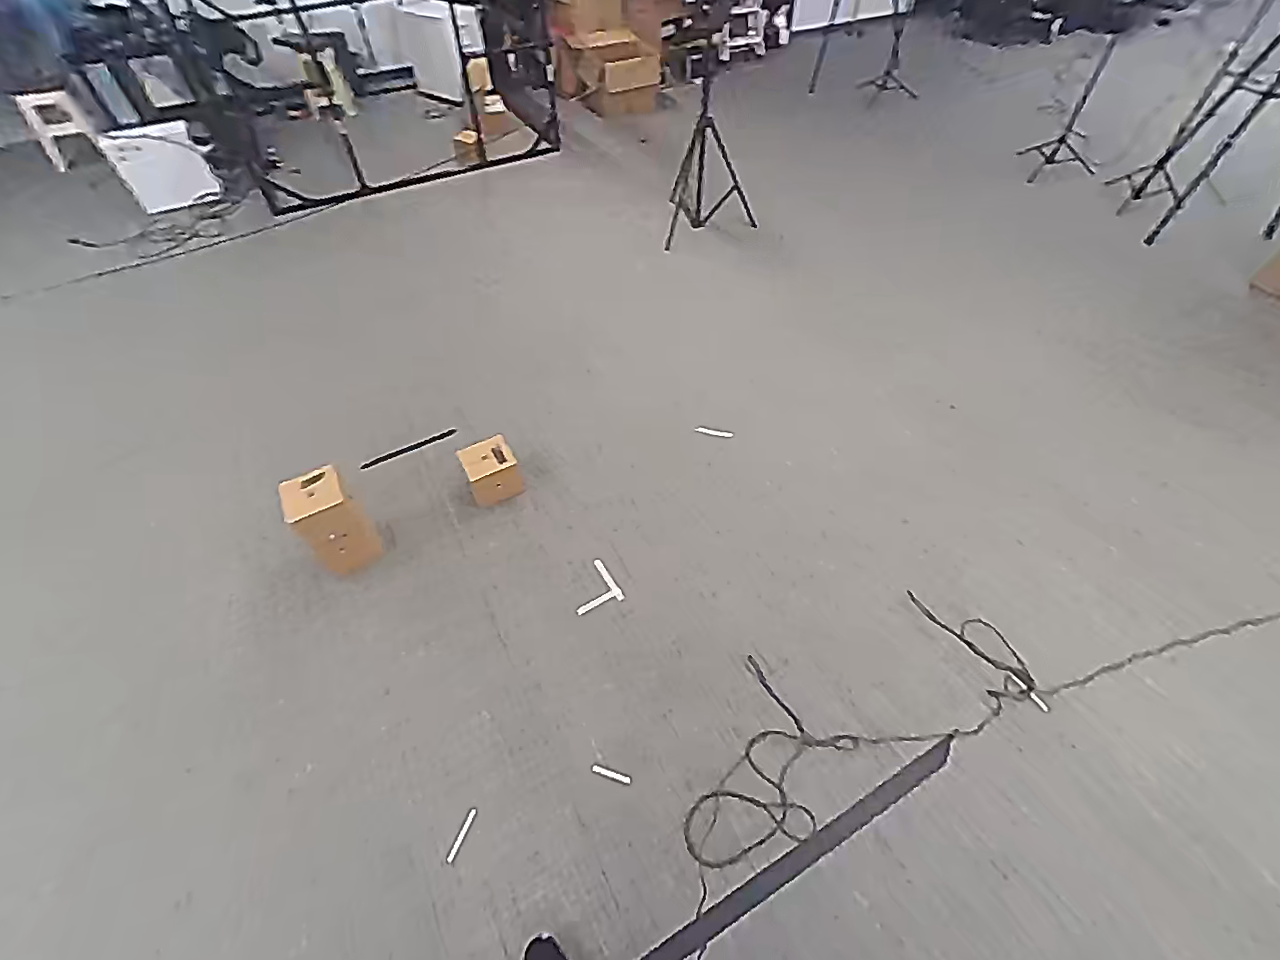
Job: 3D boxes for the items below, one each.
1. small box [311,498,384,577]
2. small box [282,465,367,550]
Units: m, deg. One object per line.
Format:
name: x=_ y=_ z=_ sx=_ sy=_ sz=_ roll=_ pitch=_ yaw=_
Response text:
small box: x=-0.996 y=0.196 z=1.837 sx=0.179 sy=0.176 sz=0.168 roll=-26 pitch=56 yaw=-17
small box: x=-0.996 y=0.090 z=1.712 sx=0.168 sy=0.176 sz=0.179 roll=-26 pitch=56 yaw=-17
